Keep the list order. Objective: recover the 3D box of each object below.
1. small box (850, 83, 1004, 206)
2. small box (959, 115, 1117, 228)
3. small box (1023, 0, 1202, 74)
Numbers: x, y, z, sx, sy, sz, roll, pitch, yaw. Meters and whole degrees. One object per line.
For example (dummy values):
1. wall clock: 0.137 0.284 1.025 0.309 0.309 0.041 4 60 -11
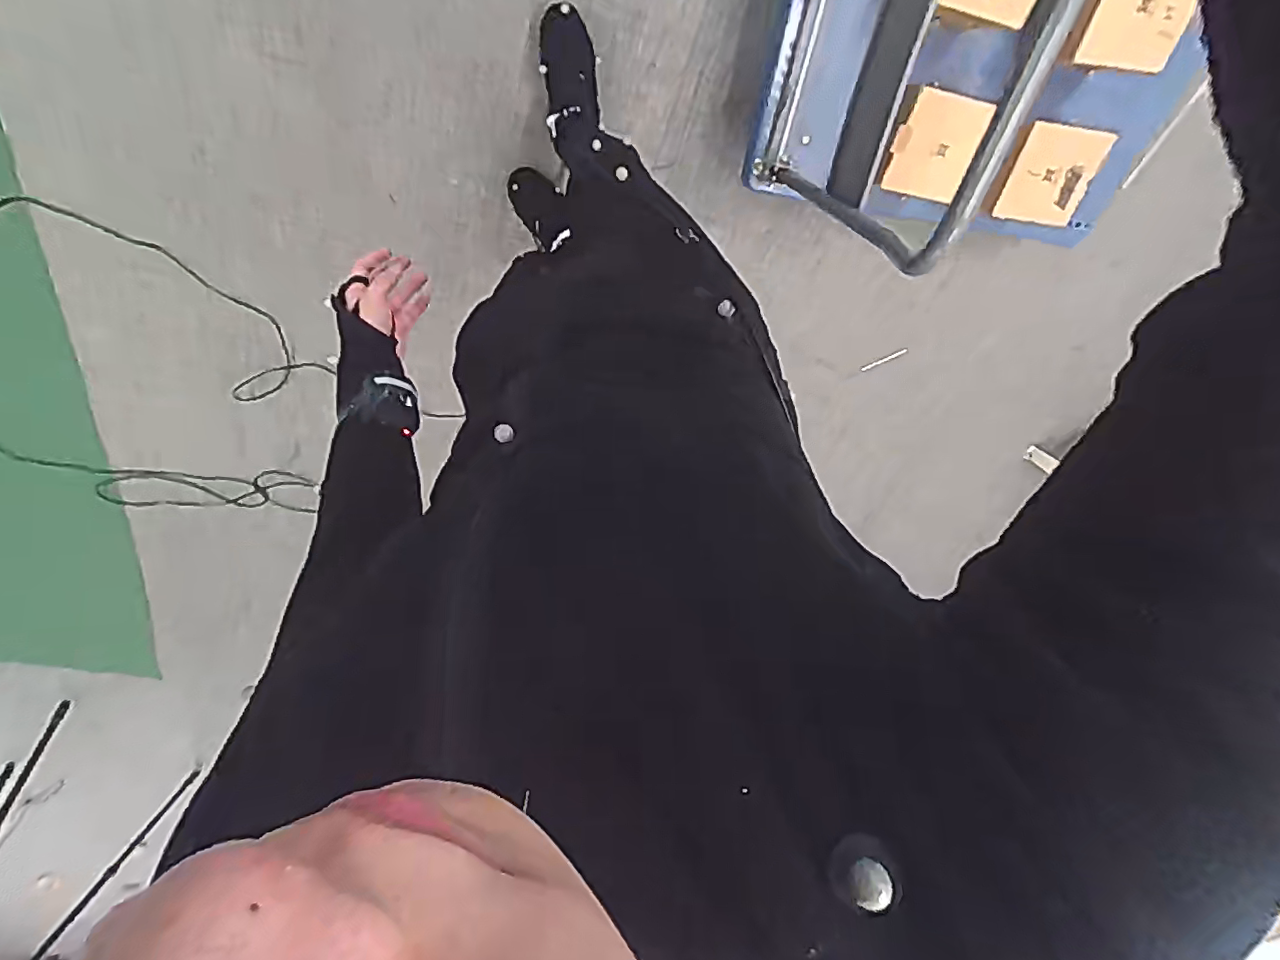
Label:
1. small box: 0.554 -0.666 1.070 0.179 0.176 0.168 6 128 -10
2. small box: 0.798 -0.640 1.115 0.179 0.176 0.168 4 128 -8
3. small box: 0.839 -0.836 0.958 0.179 0.176 0.168 2 130 -7
